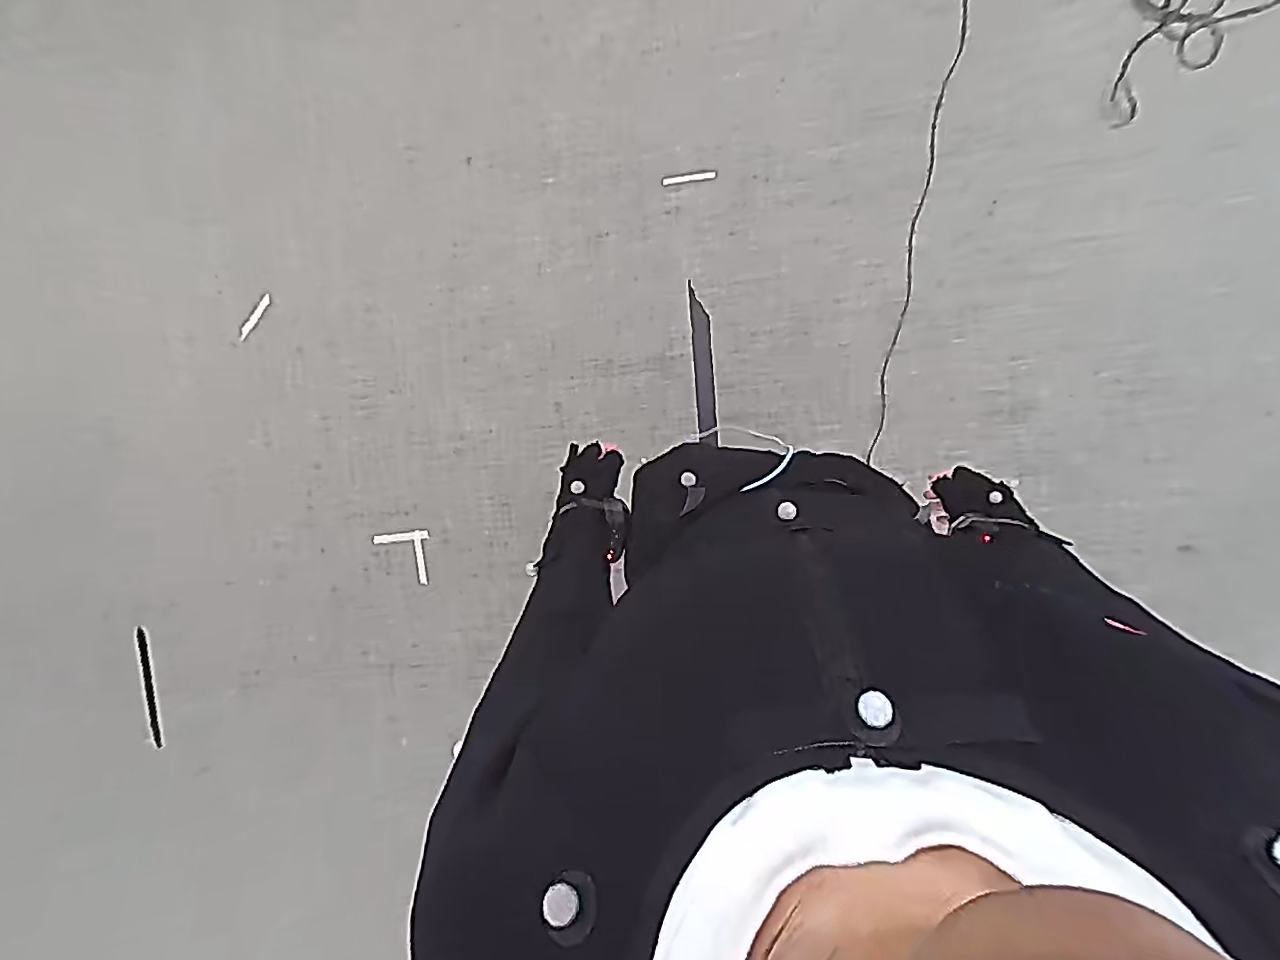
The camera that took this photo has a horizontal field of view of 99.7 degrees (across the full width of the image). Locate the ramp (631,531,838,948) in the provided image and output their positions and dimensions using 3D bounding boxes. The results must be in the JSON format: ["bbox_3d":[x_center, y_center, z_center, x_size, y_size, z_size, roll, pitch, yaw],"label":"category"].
[{"bbox_3d":[0.224,0.637,1.395,0.509,0.206,0.991,-4,92,9],"label":"ramp"}]
